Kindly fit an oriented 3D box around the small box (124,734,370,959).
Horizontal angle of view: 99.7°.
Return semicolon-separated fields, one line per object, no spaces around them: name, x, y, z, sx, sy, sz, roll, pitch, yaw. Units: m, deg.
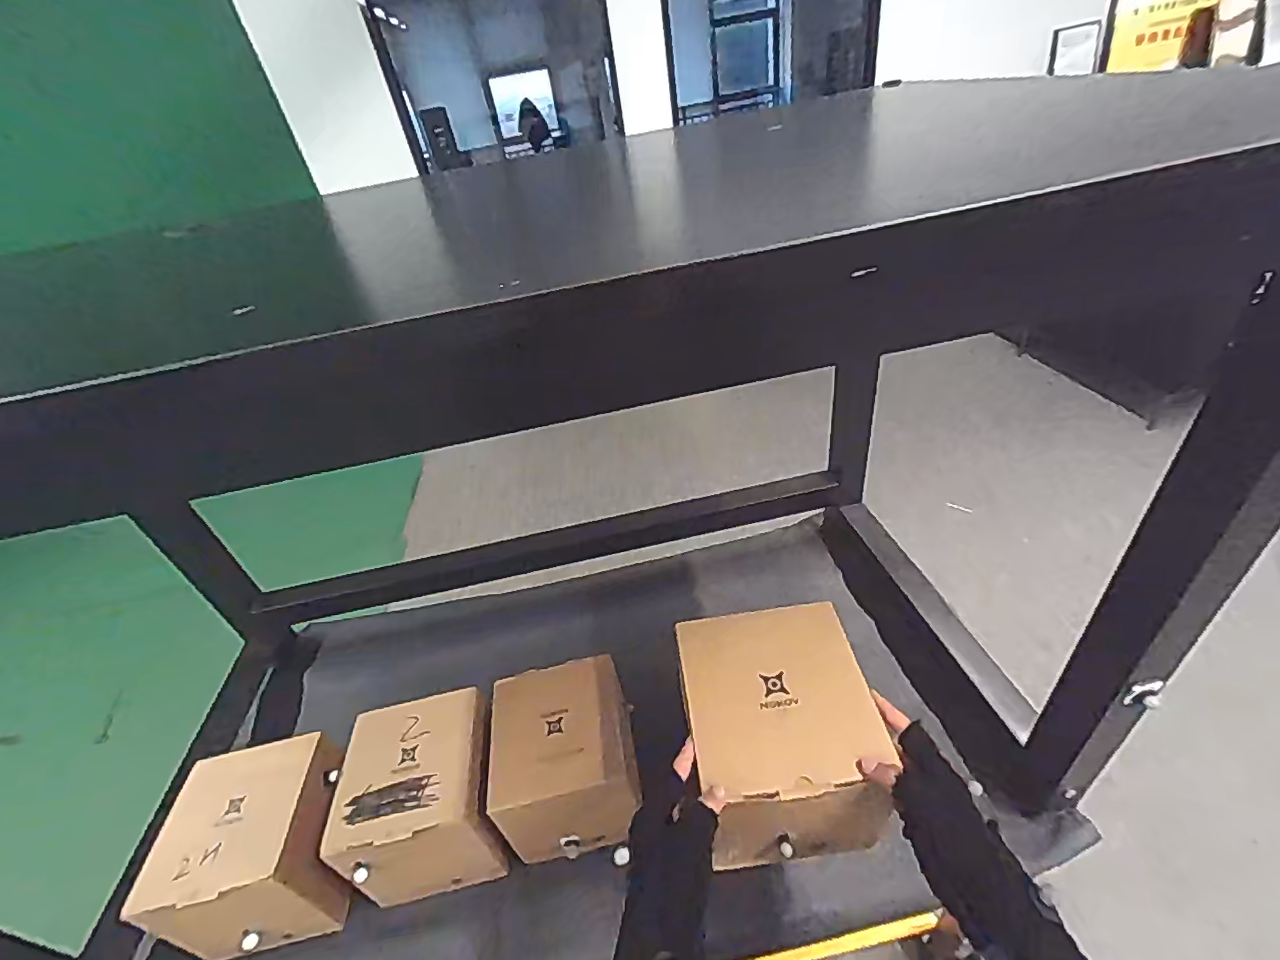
small box;-0.473;0.466;0.691;0.168;0.176;0.179;-13;35;-3
